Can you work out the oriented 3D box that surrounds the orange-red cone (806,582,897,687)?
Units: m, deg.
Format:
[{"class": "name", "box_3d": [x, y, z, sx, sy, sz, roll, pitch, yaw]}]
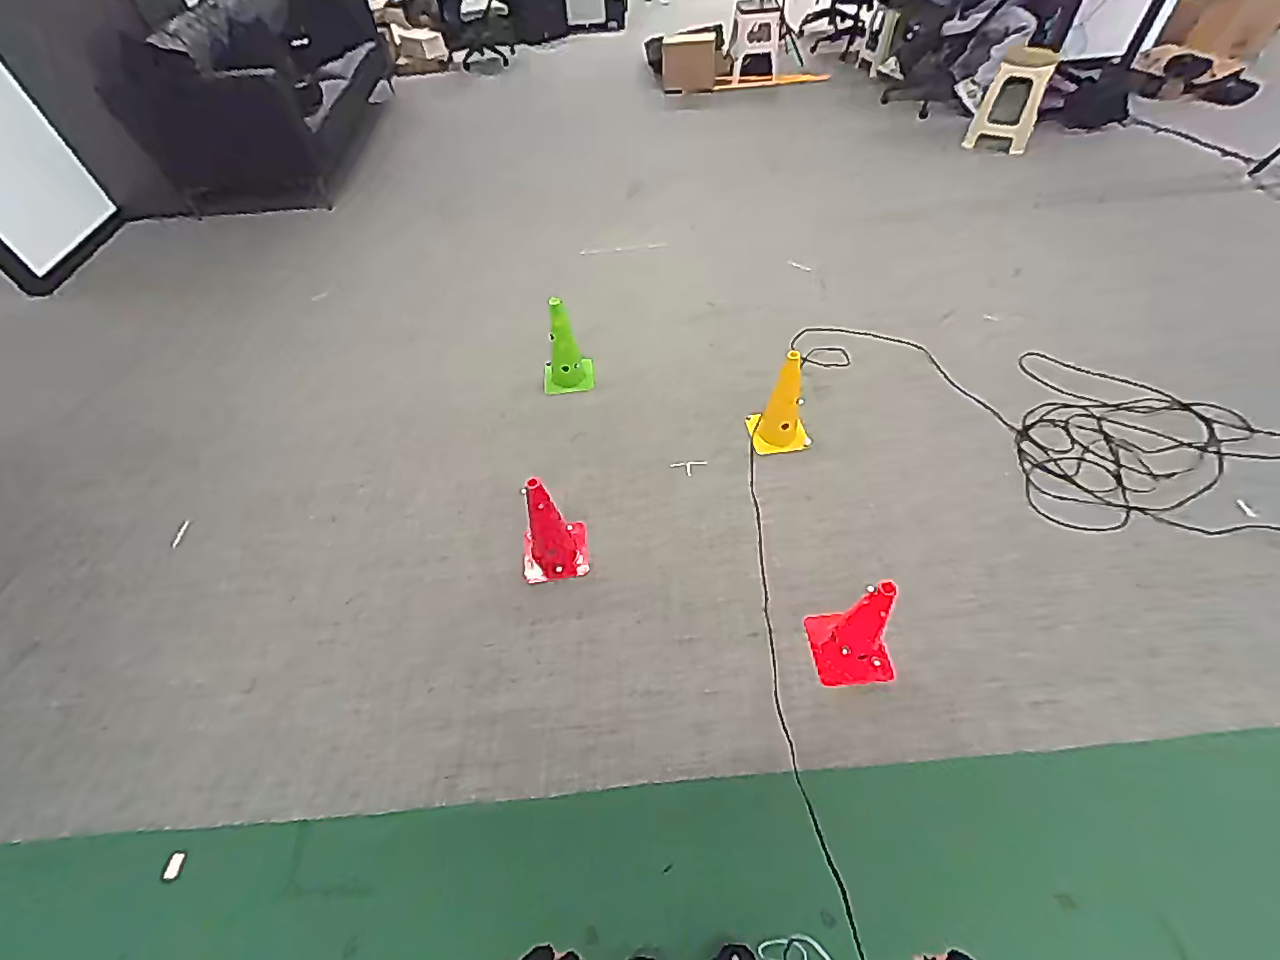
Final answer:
[{"class": "orange-red cone", "box_3d": [0.559, 0.352, 1.340, 0.198, 0.360, 0.199, -4, 50, -1]}]

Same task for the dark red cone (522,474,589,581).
[{"class": "dark red cone", "box_3d": [-0.274, 0.116, 1.558, 0.202, 0.394, 0.201, -10, 52, -4]}]

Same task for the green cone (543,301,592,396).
[{"class": "green cone", "box_3d": [-0.307, -0.526, 2.110, 0.202, 0.368, 0.200, -6, 51, -2]}]
